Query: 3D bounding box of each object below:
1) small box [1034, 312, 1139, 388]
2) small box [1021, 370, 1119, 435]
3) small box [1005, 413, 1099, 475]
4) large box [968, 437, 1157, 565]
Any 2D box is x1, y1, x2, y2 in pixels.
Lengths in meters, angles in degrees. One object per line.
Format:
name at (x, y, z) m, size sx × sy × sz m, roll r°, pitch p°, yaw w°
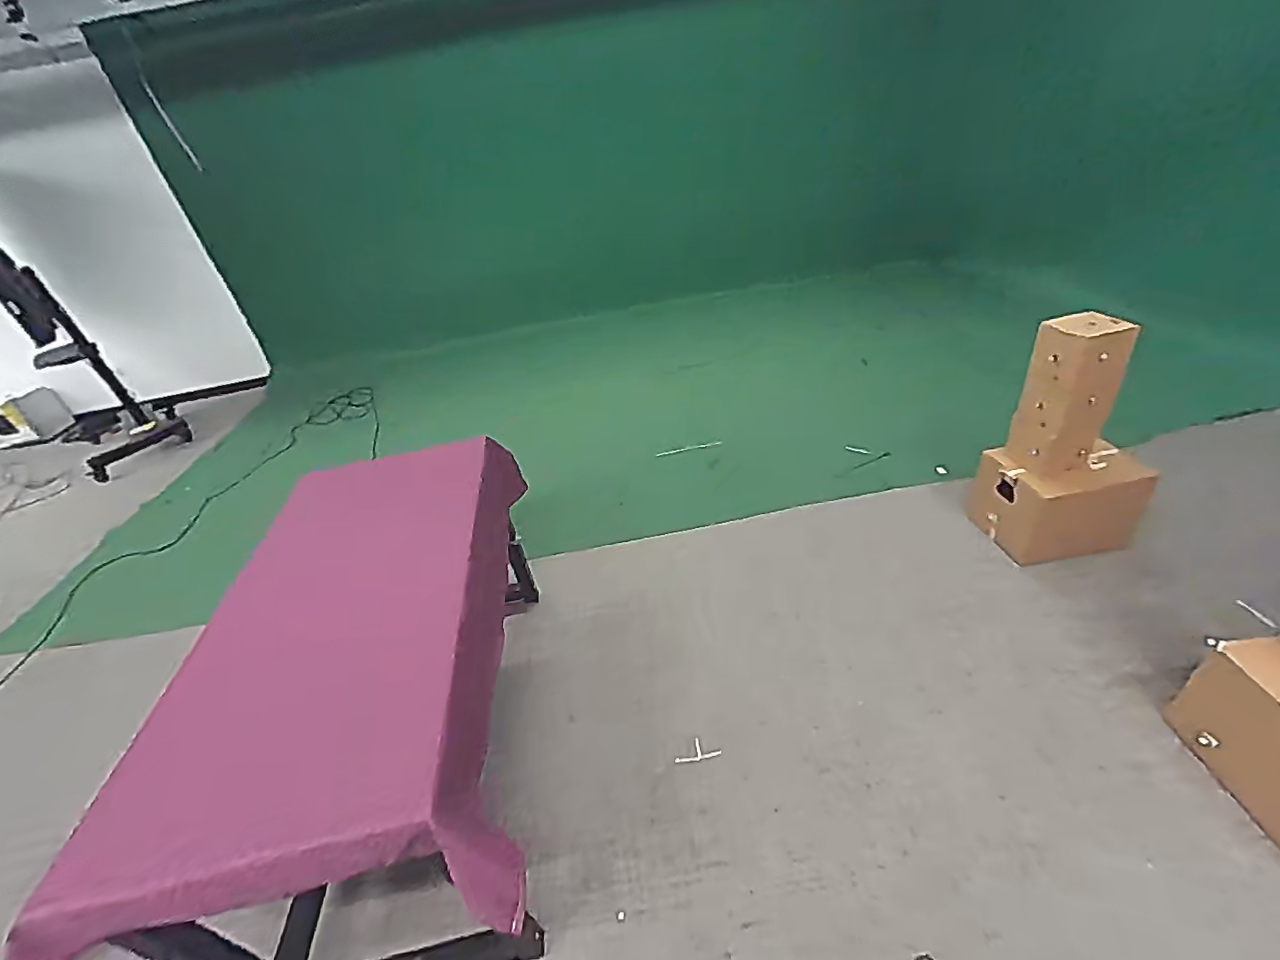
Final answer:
small box at (1.351, -0.396, 1.656) m, size 0.179 × 0.176 × 0.168 m, roll -13°, pitch 34°, yaw -4°
small box at (1.377, -0.263, 1.750) m, size 0.179 × 0.176 × 0.168 m, roll -13°, pitch 35°, yaw -6°
small box at (1.394, -0.129, 1.842) m, size 0.168 × 0.176 × 0.179 m, roll -12°, pitch 33°, yaw -3°
large box at (1.502, 0.066, 1.966) m, size 0.408 × 0.320 × 0.320 m, roll -11°, pitch 34°, yaw -2°
